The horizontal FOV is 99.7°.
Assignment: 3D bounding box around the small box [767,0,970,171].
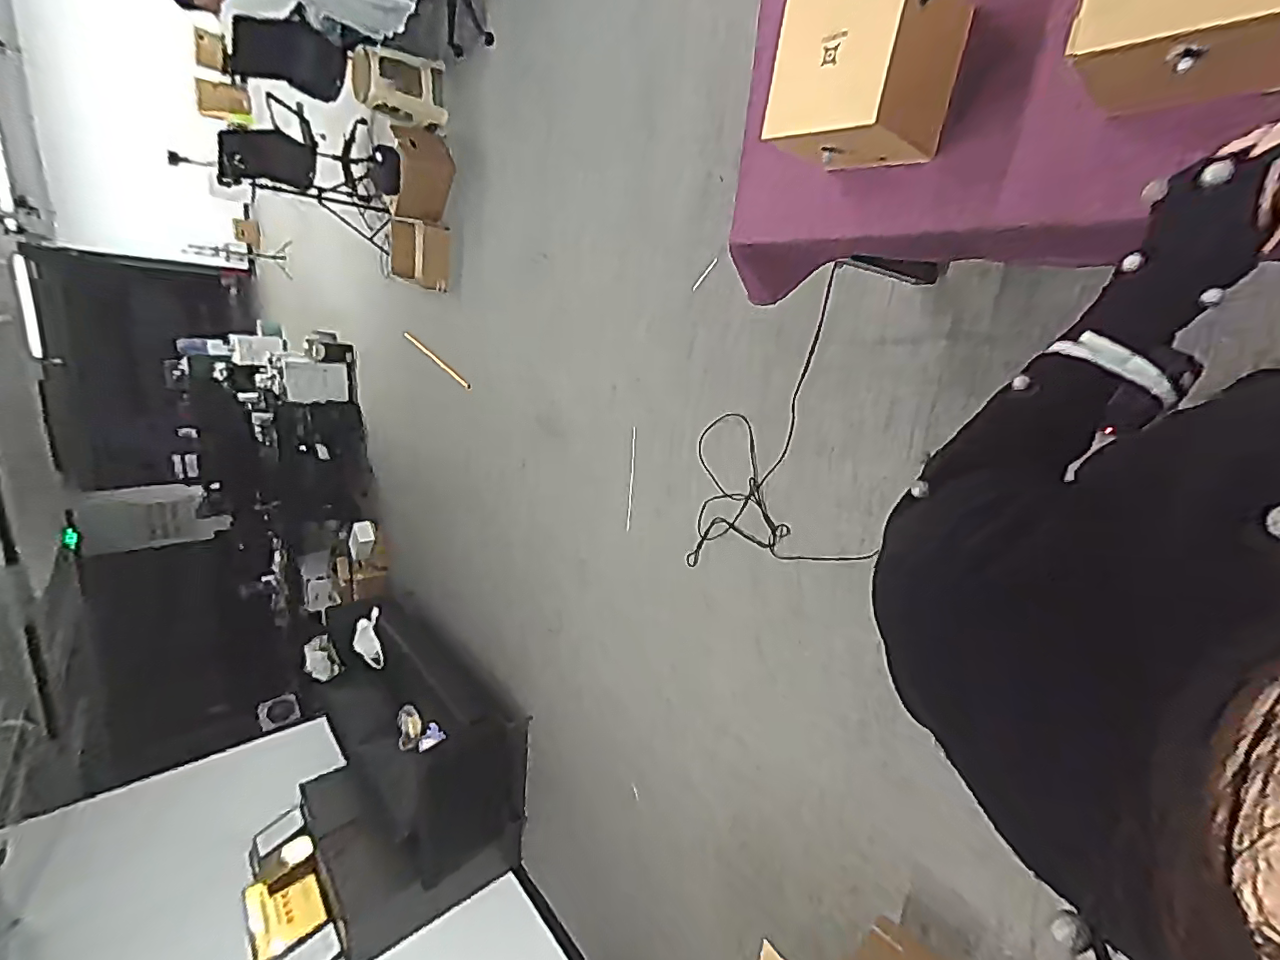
[{"bbox_3d":[0.299,-0.522,0.709,0.168,0.176,0.179,27,115,44],"label":"small box"}]
